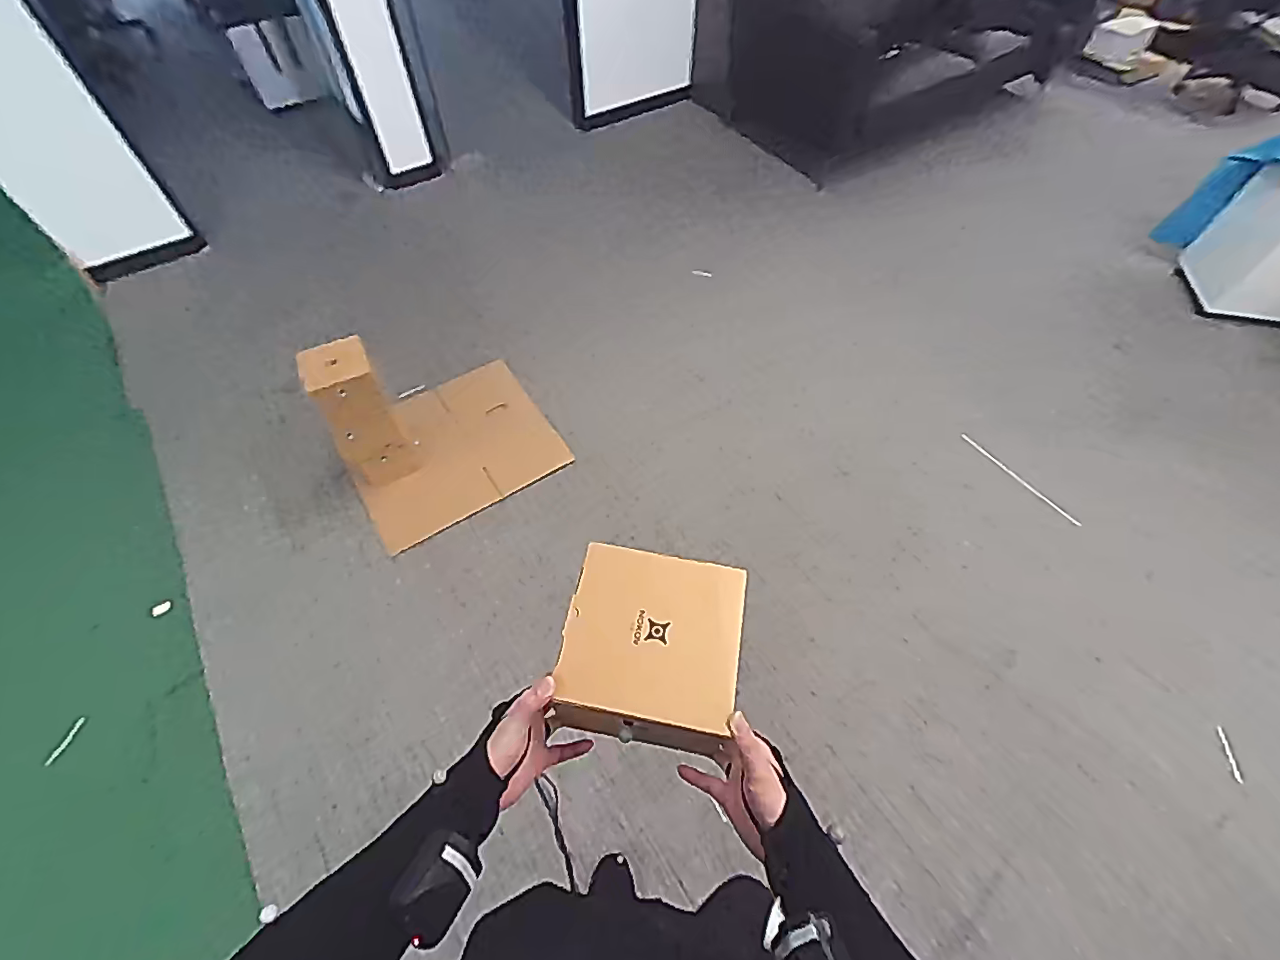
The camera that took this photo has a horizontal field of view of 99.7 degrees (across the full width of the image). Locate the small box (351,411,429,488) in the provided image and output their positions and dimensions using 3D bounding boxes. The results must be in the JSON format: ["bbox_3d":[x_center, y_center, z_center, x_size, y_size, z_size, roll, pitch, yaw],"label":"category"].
[{"bbox_3d":[-0.860,-0.101,1.872,0.179,0.176,0.168,-25,60,-16],"label":"small box"}]

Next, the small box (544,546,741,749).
[{"bbox_3d":[0.009,0.195,0.610,0.179,0.176,0.168,8,58,7],"label":"small box"}]

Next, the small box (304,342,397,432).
[{"bbox_3d":[-0.848,-0.270,1.592,0.179,0.176,0.168,-23,61,-15],"label":"small box"}]
